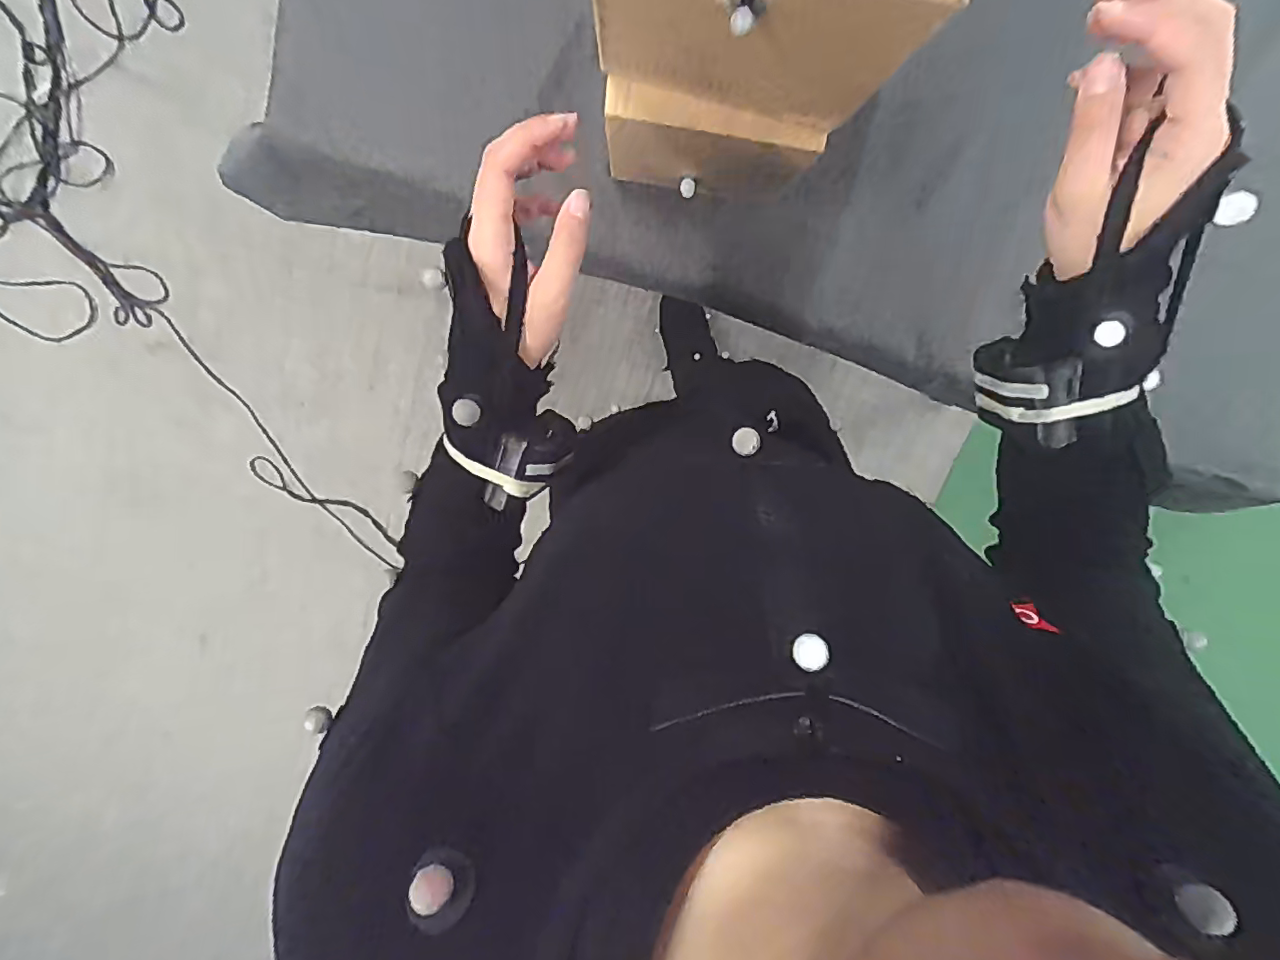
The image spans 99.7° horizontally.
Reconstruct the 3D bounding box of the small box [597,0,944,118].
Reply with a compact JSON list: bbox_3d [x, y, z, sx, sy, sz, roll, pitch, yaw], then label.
[{"bbox_3d":[0.073,-0.324,0.283,0.179,0.176,0.168,12,106,-5],"label":"small box"}]

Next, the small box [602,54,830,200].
[{"bbox_3d":[0.064,-0.354,0.443,0.168,0.176,0.179,8,106,-3],"label":"small box"}]
